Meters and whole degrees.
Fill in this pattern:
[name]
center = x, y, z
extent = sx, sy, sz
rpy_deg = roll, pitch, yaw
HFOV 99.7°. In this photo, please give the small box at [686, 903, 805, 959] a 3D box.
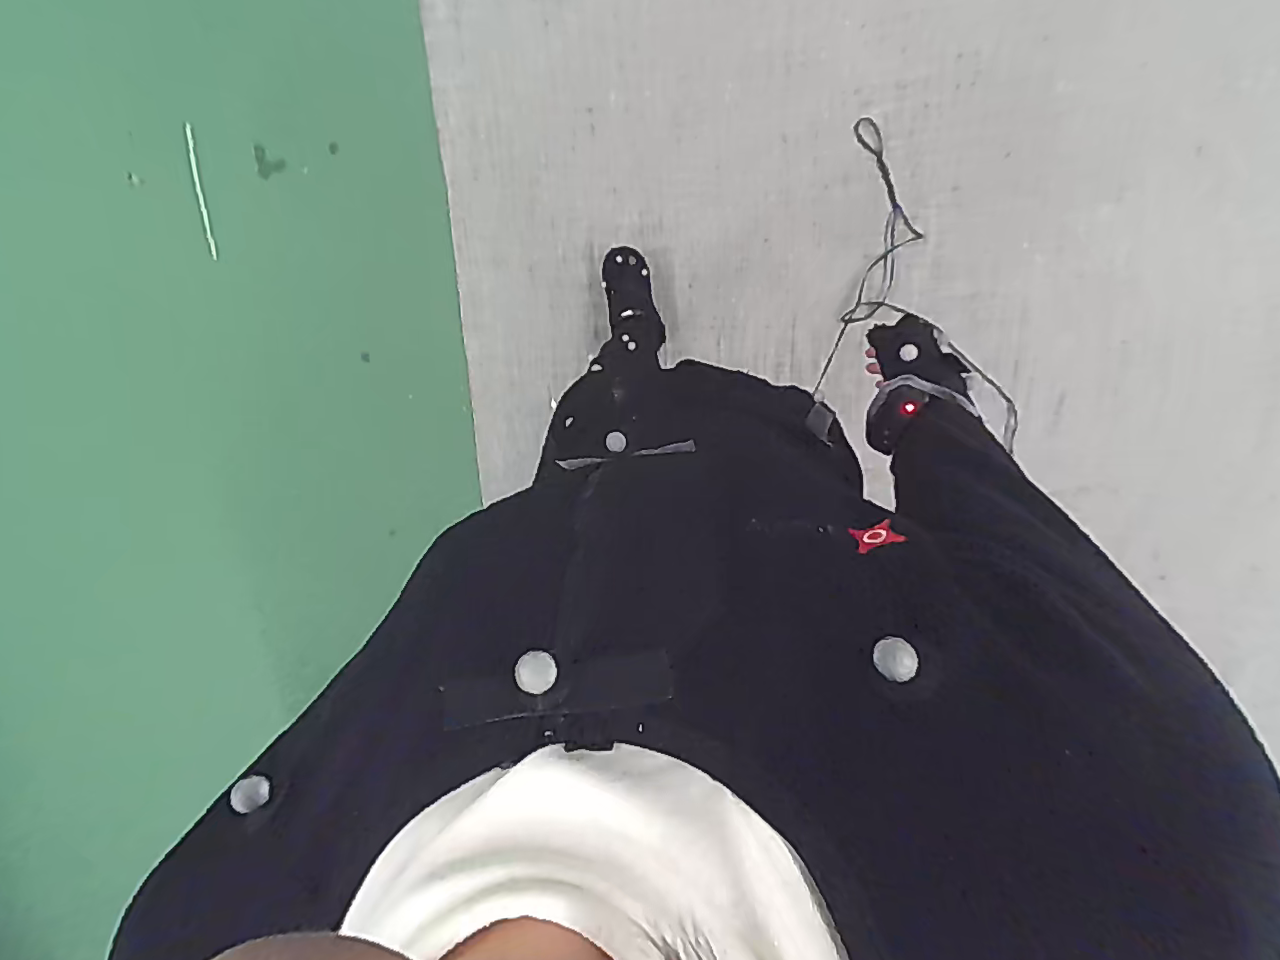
[small box]
center = 0.157, 0.770, 0.797
extent = 0.179, 0.176, 0.168
rpy_deg = -3, 104, 9
